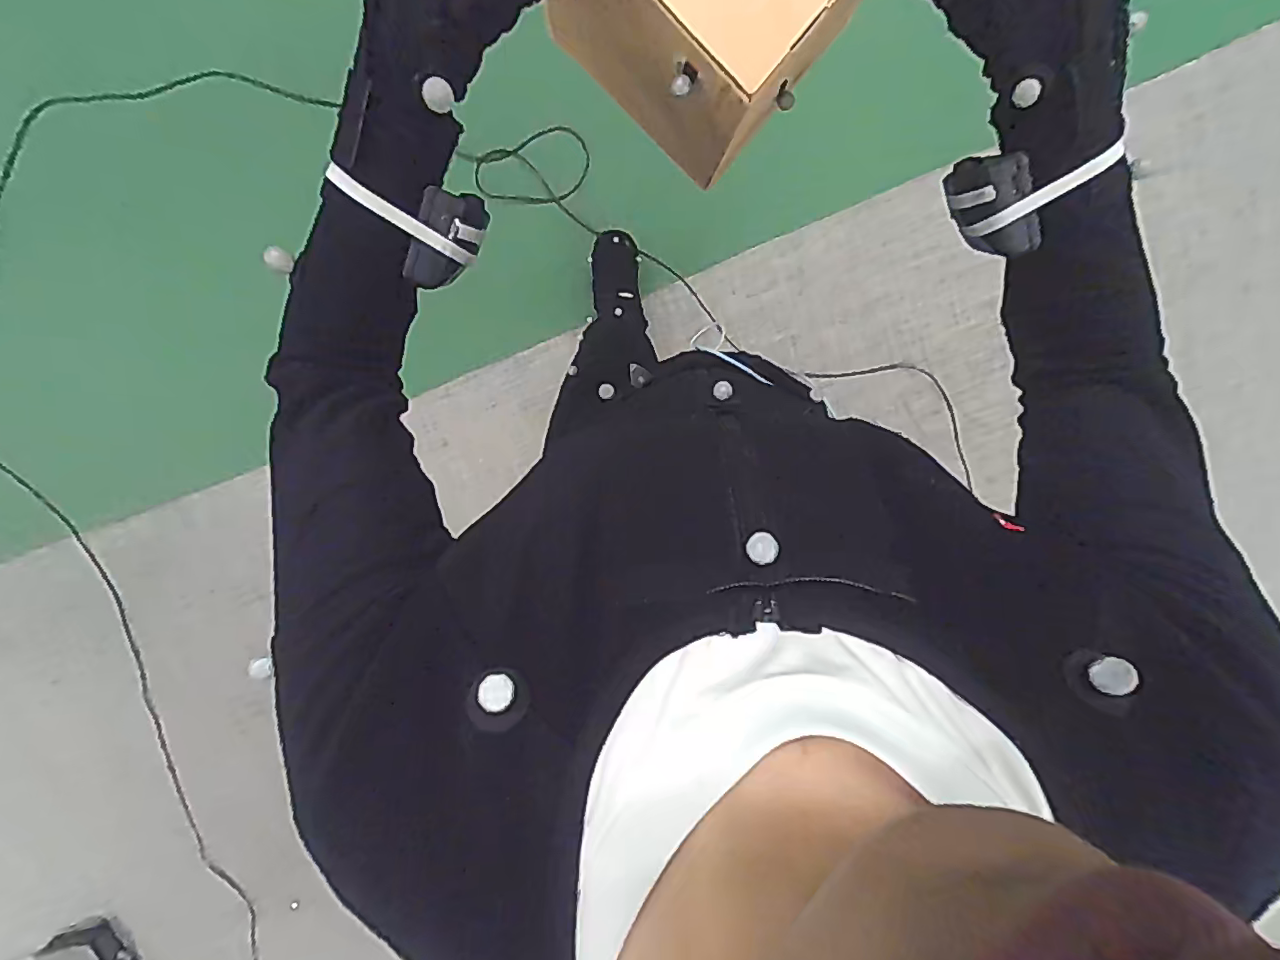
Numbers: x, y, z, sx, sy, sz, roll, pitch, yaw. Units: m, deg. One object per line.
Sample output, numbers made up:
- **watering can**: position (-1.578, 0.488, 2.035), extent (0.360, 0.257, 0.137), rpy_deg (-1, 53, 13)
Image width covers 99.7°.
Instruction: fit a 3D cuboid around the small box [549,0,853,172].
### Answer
- **small box**: position (0.045, -0.350, 0.360), extent (0.179, 0.176, 0.168), rpy_deg (41, 98, -11)
